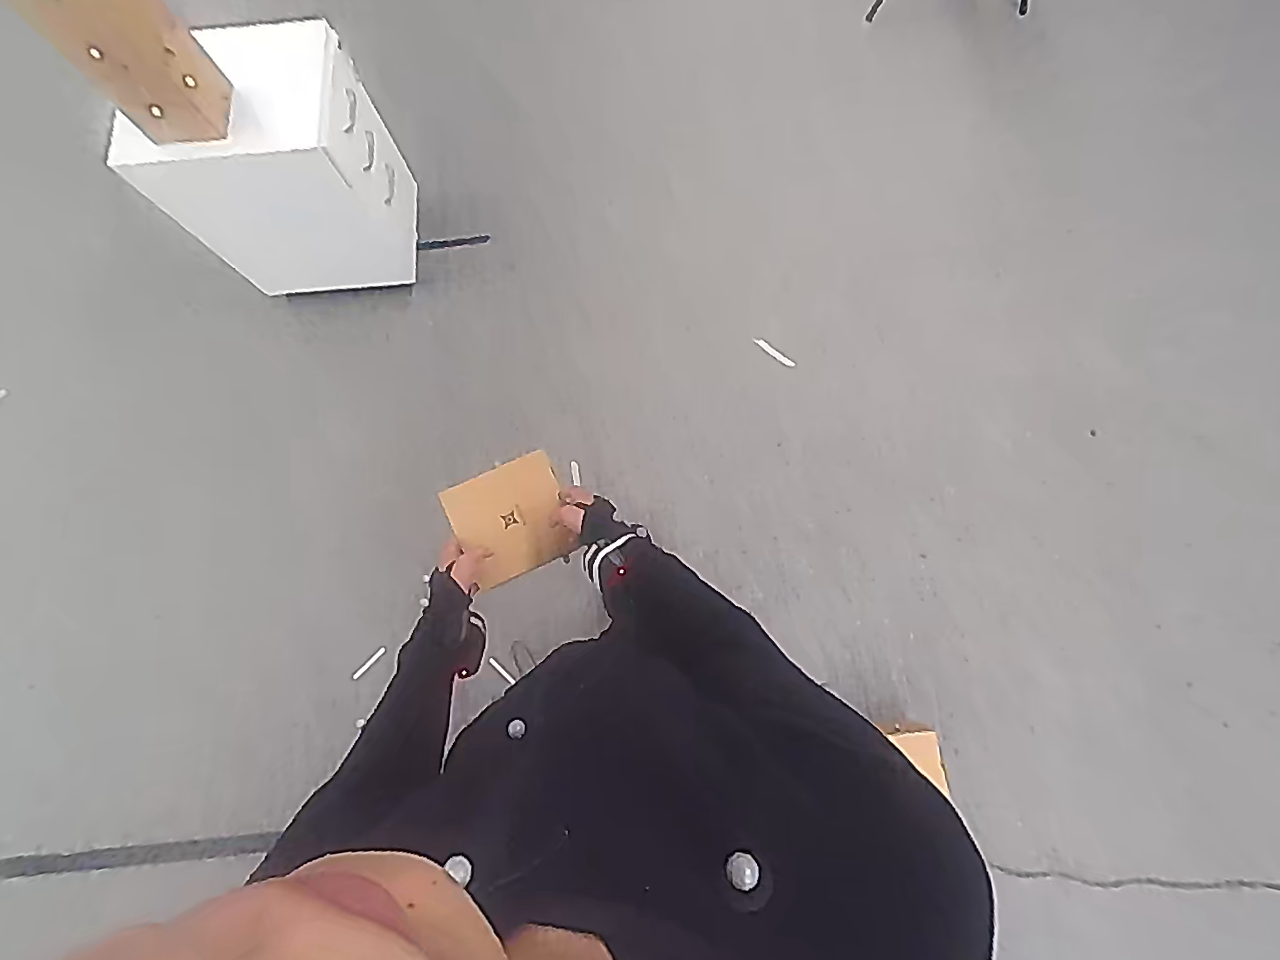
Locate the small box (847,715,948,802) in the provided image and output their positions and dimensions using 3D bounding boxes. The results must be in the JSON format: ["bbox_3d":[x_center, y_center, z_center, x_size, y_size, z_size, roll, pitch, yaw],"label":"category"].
[{"bbox_3d":[0.680,0.737,1.445,0.179,0.176,0.168,-5,77,0],"label":"small box"}]

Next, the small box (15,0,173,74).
[{"bbox_3d":[-1.085,-0.954,1.074,0.168,0.176,0.179,-3,77,1],"label":"small box"}]

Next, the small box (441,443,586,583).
[{"bbox_3d":[-0.199,0.059,0.905,0.179,0.176,0.168,-25,86,-7],"label":"small box"}]
